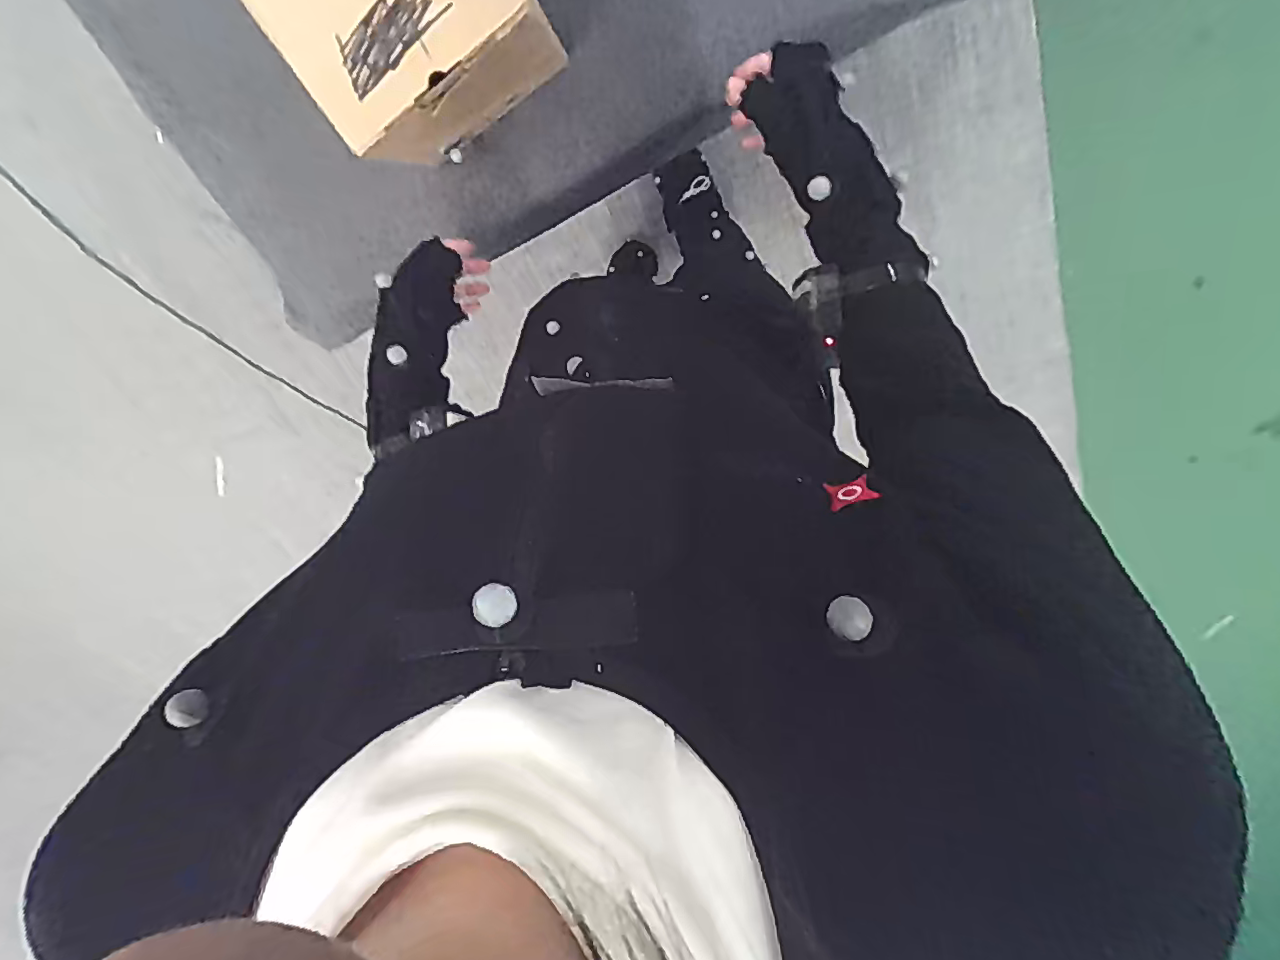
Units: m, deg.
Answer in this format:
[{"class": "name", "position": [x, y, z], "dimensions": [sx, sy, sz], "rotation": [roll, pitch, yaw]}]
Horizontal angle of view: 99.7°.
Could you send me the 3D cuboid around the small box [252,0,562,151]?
[{"class": "small box", "position": [-0.180, -0.385, 0.417], "dimensions": [0.168, 0.176, 0.179], "rotation": [-28, 112, 16]}]
